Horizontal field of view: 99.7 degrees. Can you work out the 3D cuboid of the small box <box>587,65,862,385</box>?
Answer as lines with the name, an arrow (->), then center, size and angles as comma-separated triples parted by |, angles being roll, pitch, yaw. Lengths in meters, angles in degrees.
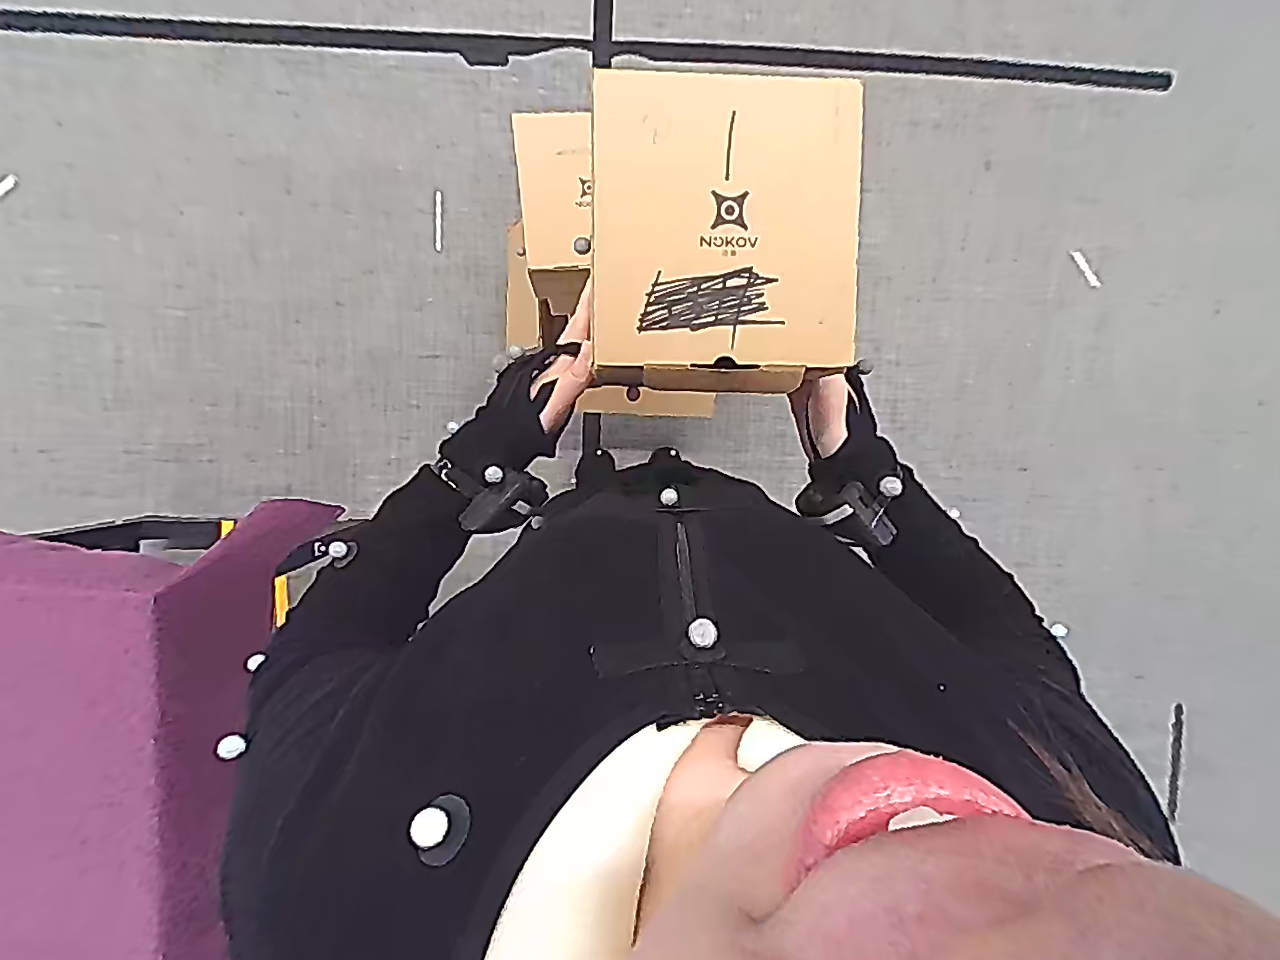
small box -> 0.047, -0.165, 0.409 | 0.168, 0.176, 0.179 | 0, 95, -3

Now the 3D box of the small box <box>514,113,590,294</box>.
small box -> -0.069, -0.350, 0.717 | 0.168, 0.176, 0.179 | -5, 98, -7
